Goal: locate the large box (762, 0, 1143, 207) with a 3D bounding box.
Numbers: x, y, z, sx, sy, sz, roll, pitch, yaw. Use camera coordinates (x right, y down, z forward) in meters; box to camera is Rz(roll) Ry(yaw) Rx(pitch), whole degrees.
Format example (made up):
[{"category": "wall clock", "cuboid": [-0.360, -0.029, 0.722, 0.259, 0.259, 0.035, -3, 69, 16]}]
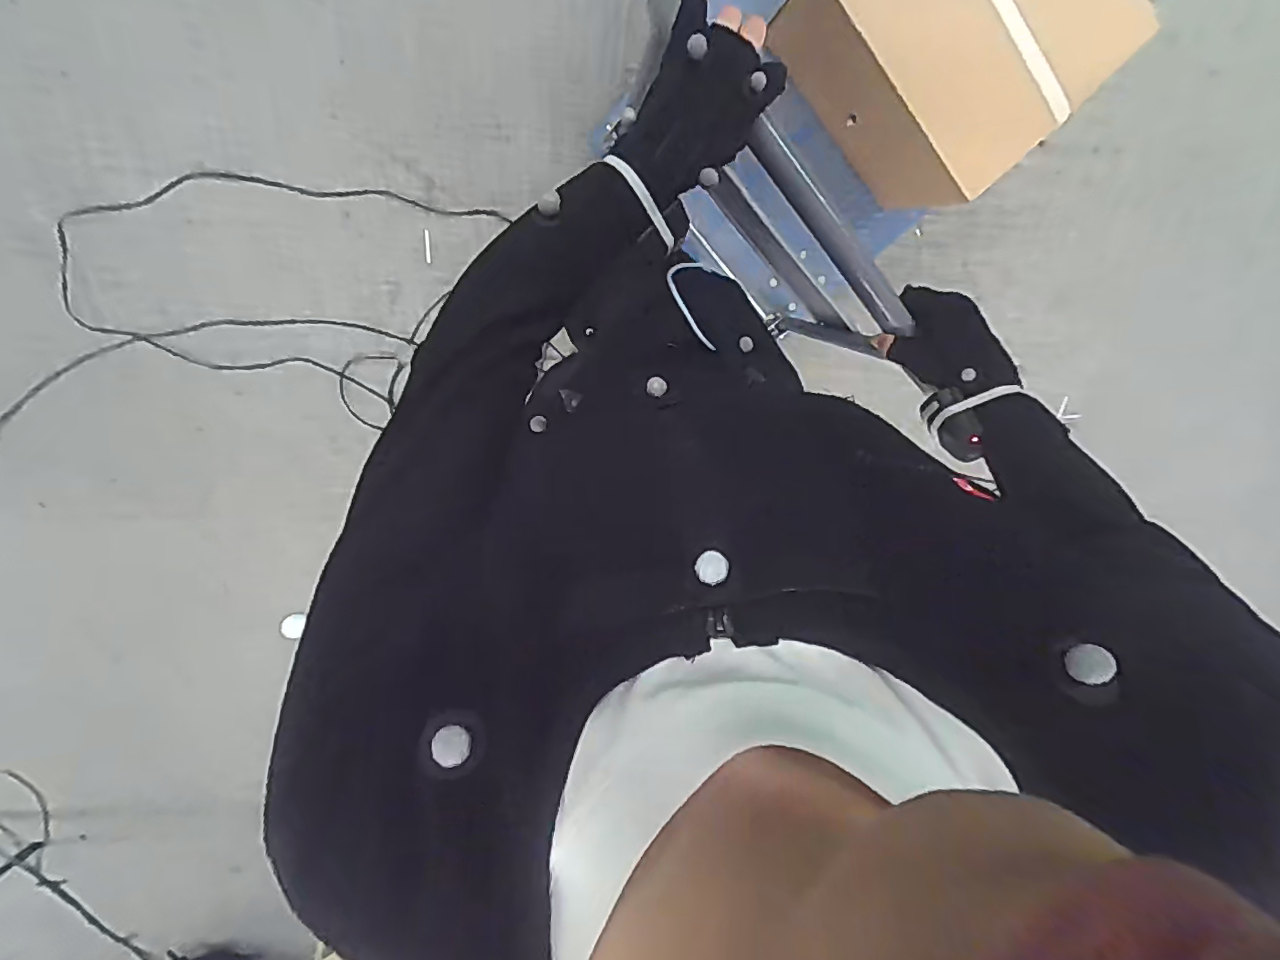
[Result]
[{"category": "large box", "cuboid": [0.473, -0.727, 0.892, 0.408, 0.320, 0.320, 42, 106, -18]}]
